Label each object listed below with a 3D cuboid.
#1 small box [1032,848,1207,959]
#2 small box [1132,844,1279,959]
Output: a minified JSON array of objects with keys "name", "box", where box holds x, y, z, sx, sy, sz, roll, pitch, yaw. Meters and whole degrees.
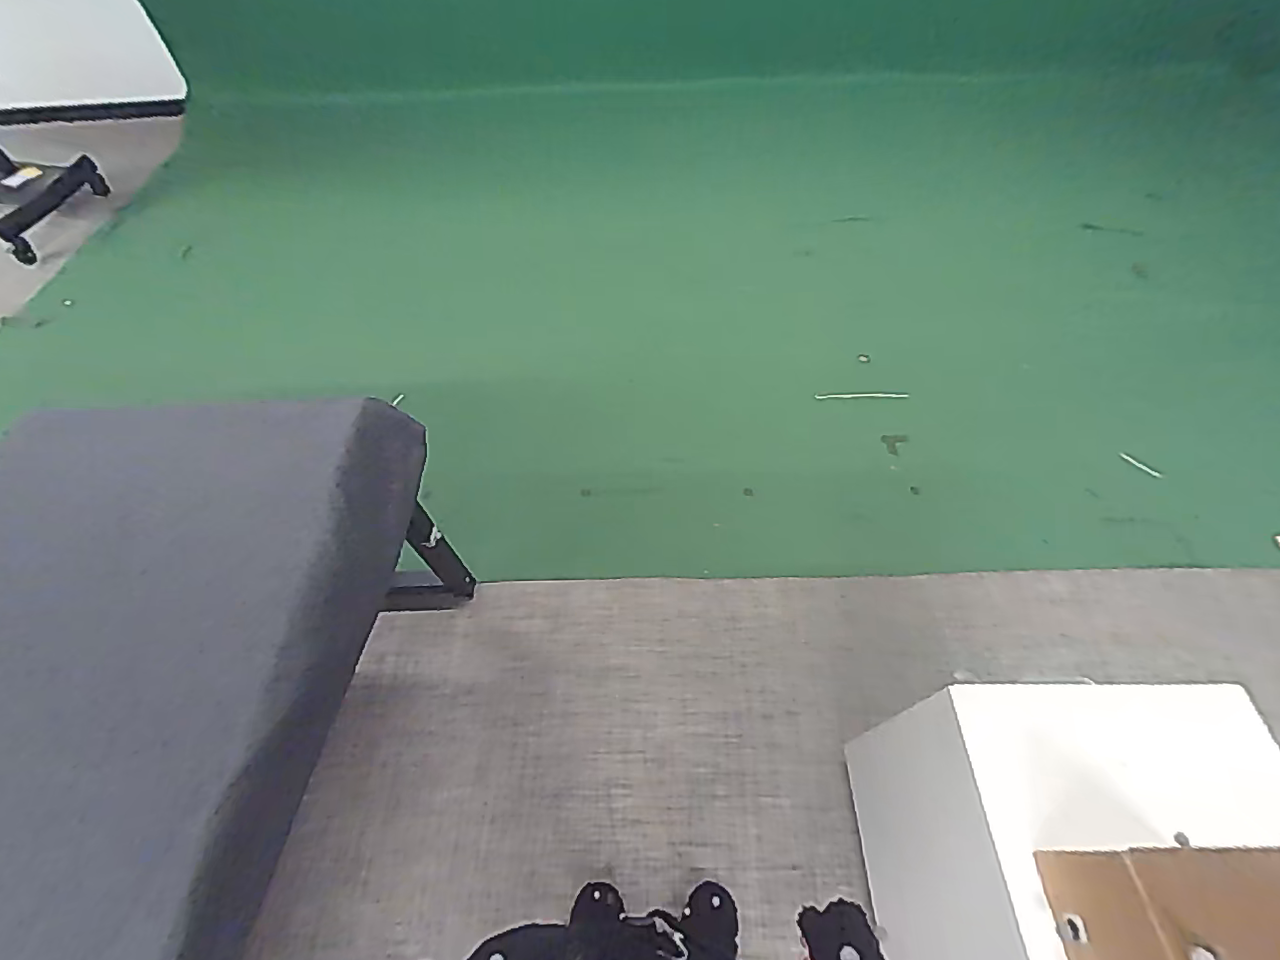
[{"name":"small box","box":[0.544,0.463,0.531,0.179,0.176,0.168,-3,55,2]},{"name":"small box","box":[0.540,0.370,0.396,0.179,0.176,0.168,-3,56,-1]}]
